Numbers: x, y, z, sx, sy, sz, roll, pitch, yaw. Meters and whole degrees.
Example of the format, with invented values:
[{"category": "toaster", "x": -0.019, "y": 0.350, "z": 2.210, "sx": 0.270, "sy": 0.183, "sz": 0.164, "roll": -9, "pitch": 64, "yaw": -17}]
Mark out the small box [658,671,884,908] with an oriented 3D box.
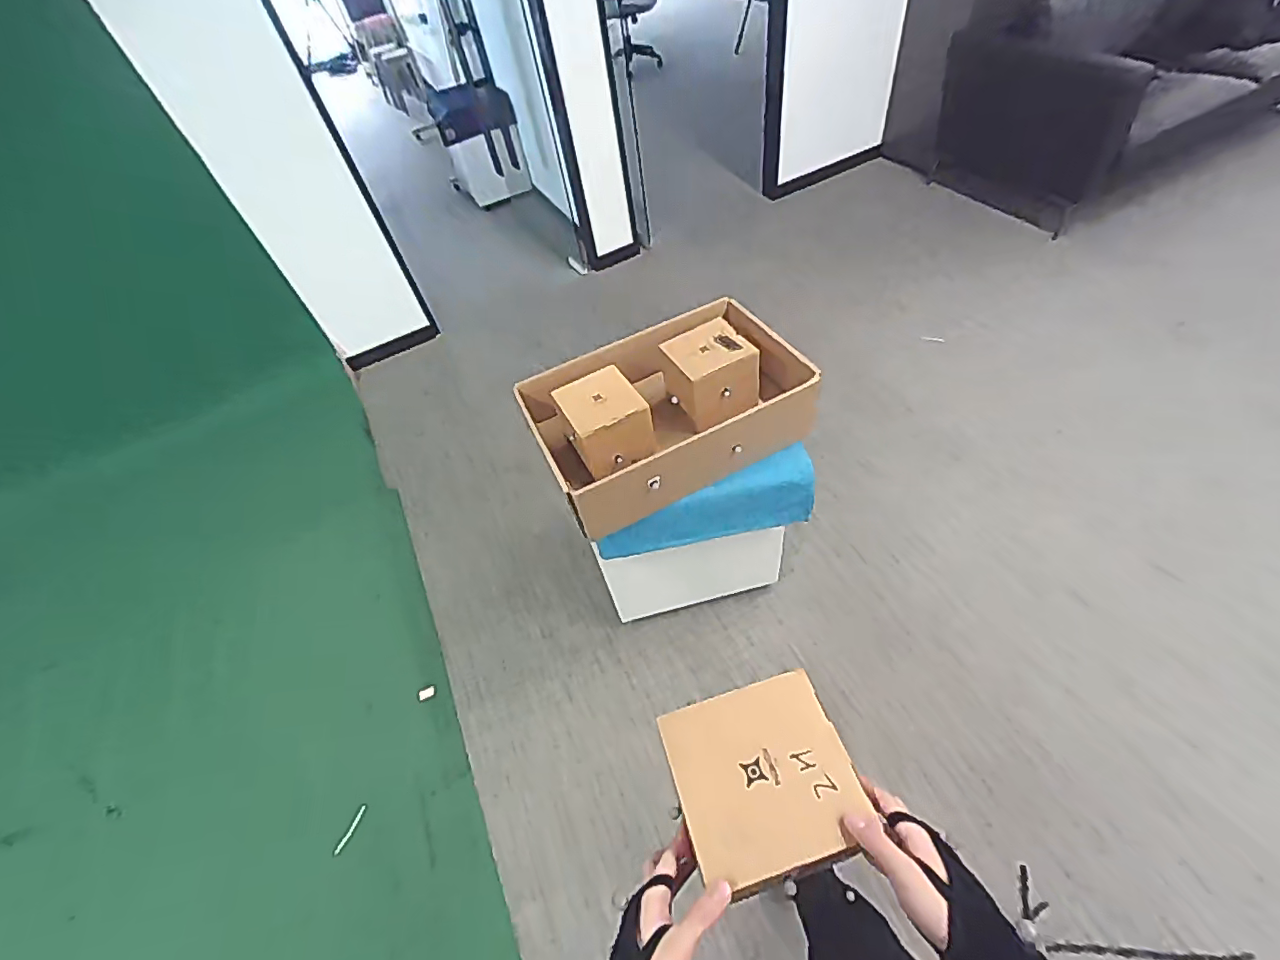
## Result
[{"category": "small box", "x": 0.132, "y": 0.344, "z": 0.597, "sx": 0.179, "sy": 0.176, "sz": 0.168, "roll": -16, "pitch": 48, "yaw": -6}]
